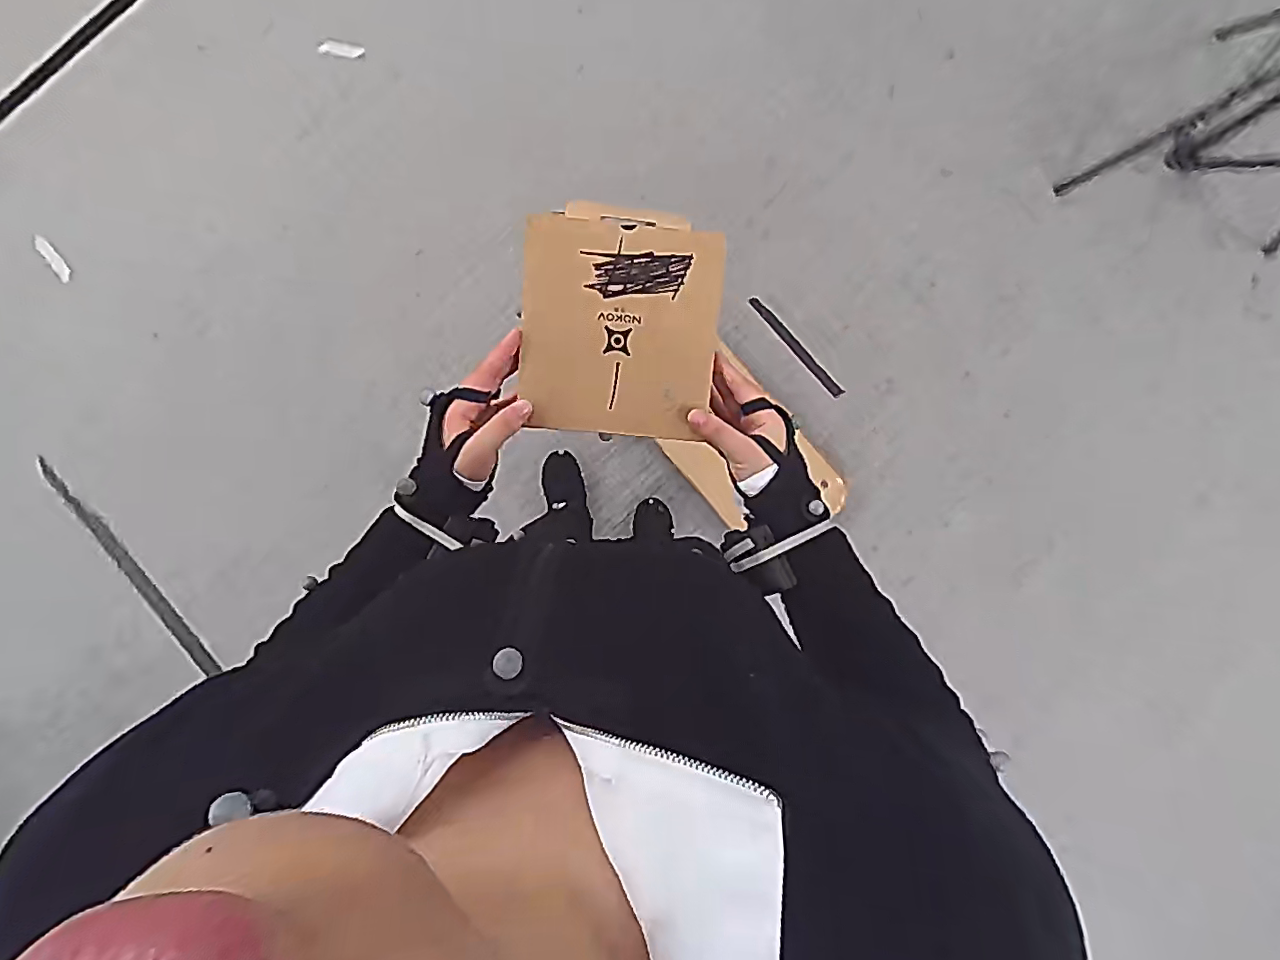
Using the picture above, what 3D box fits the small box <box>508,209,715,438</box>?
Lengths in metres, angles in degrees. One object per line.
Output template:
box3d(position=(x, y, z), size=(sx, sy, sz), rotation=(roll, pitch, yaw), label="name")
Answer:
box3d(position=(-0.030, -0.141, 0.533), size=(0.168, 0.176, 0.179), rotation=(4, 100, -3), label="small box")
